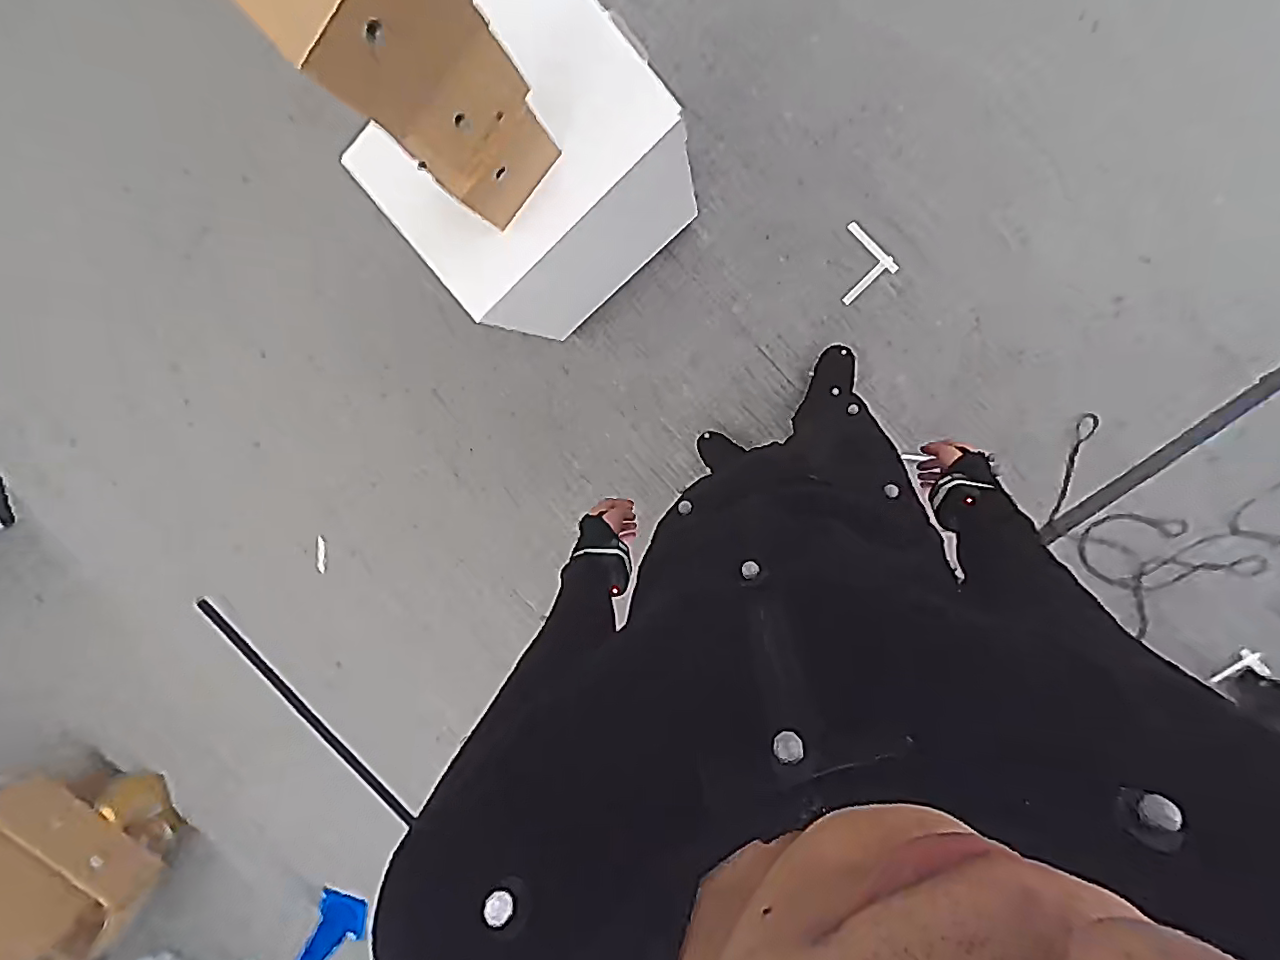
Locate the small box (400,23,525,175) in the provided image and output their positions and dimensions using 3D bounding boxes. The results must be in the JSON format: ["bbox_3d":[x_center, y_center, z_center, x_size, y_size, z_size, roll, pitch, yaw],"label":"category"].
[{"bbox_3d":[-0.288,-0.551,0.733,0.179,0.176,0.168,44,103,0],"label":"small box"}]

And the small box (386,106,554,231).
[{"bbox_3d":[-0.269,-0.550,0.896,0.168,0.176,0.179,43,103,0],"label":"small box"}]

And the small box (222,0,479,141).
[{"bbox_3d":[-0.307,-0.512,0.573,0.179,0.176,0.168,-43,91,13],"label":"small box"}]
